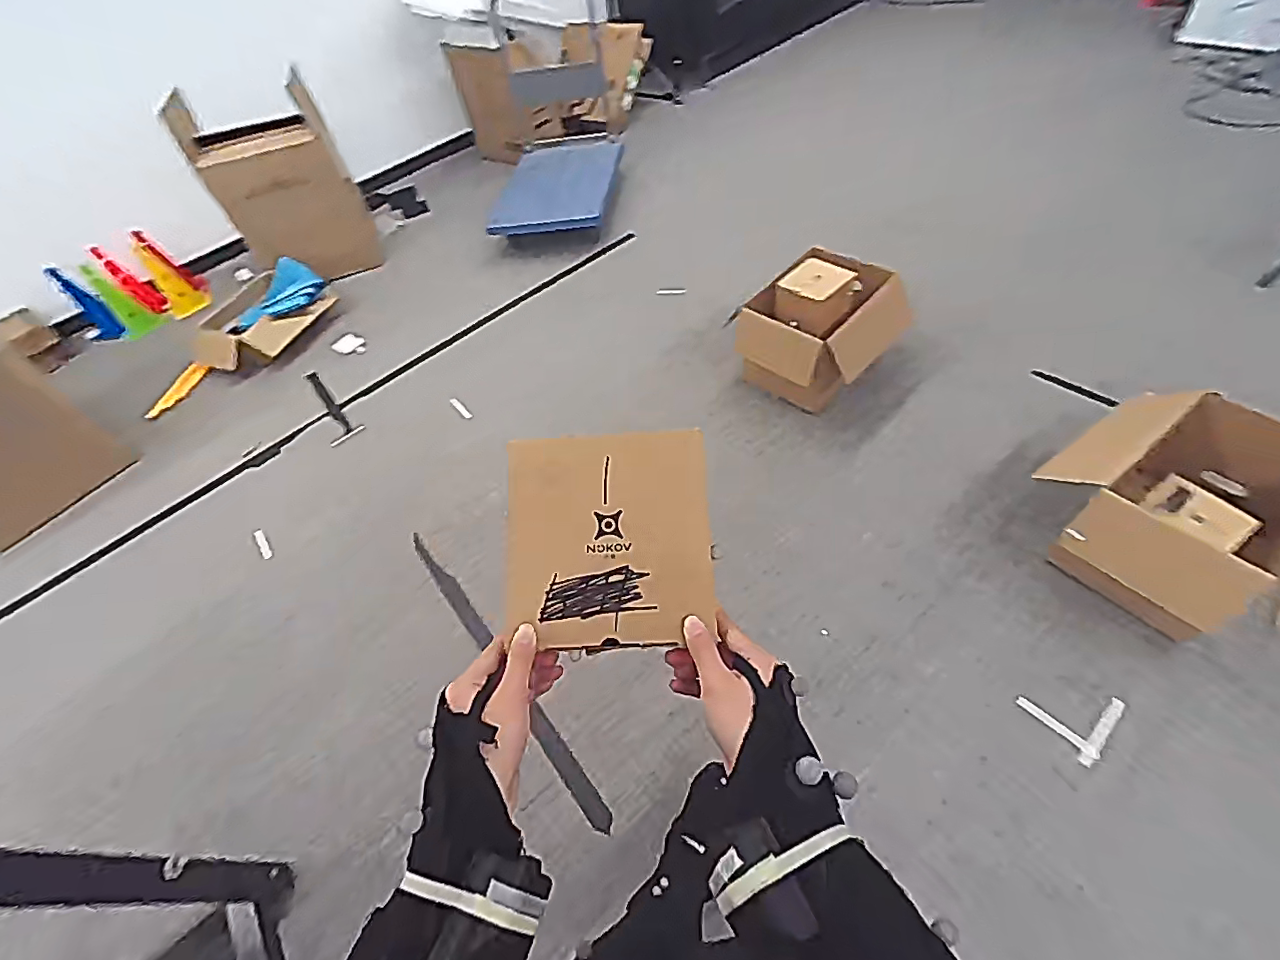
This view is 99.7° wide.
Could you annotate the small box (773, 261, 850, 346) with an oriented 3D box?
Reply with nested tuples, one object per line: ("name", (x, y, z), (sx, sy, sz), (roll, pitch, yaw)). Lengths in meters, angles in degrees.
("small box", (0.540, -0.563, 1.733), (0.179, 0.176, 0.168), (-40, 55, -18))

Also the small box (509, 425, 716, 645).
("small box", (-0.018, 0.061, 0.514), (0.168, 0.176, 0.179), (-3, 73, 3))
